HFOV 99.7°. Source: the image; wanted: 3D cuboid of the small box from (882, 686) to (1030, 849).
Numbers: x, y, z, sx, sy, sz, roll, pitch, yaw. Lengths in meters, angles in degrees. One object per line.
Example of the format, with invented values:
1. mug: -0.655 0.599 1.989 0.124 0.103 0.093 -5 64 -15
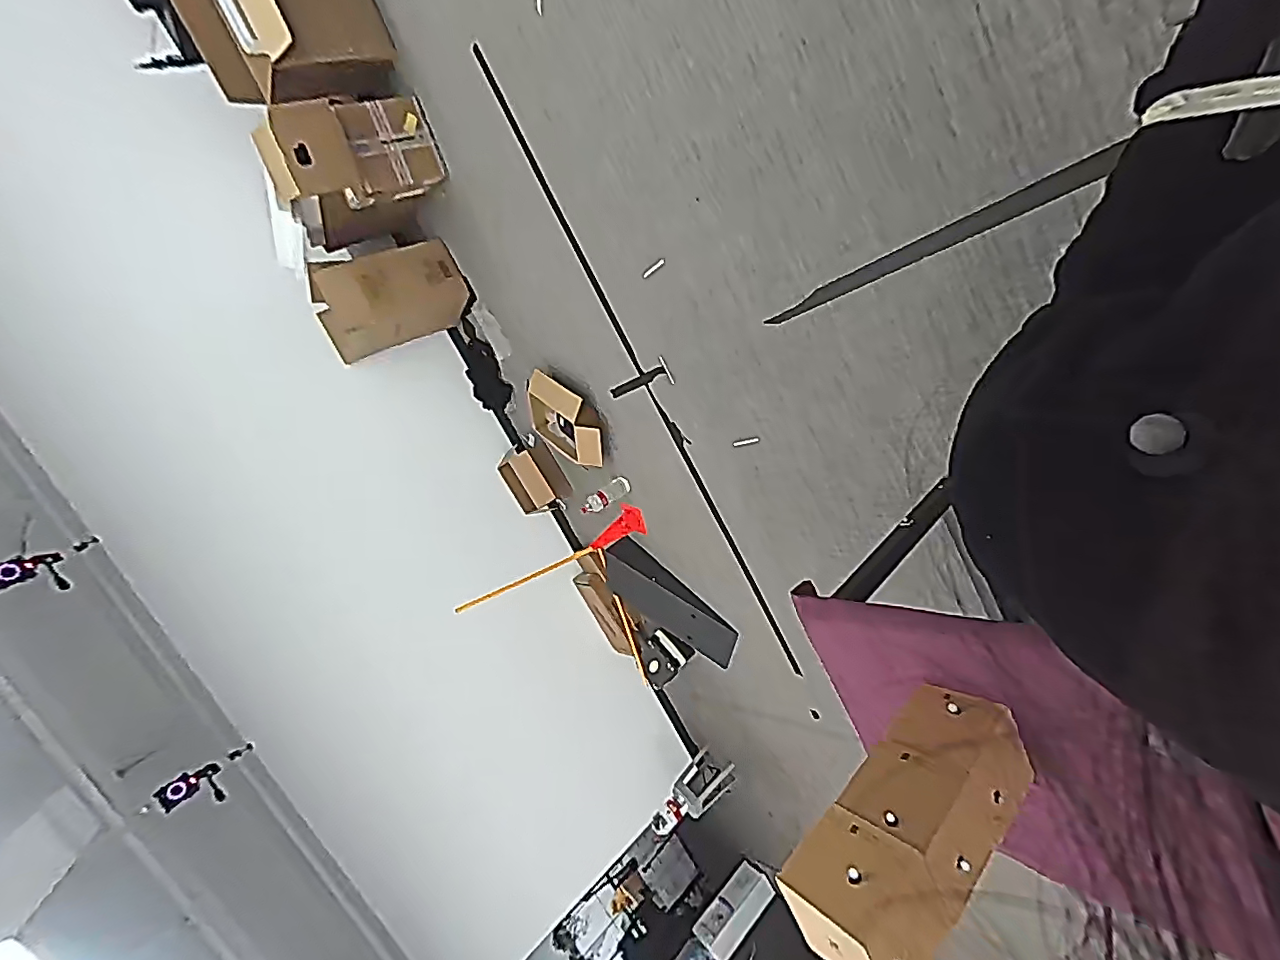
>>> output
1. small box: 0.601 0.531 1.024 0.168 0.176 0.179 -6 114 58

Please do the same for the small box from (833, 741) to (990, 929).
1. small box: 0.478 0.605 0.945 0.168 0.176 0.179 -2 118 57

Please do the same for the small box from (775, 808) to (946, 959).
1. small box: 0.355 0.678 0.867 0.168 0.176 0.179 -2 117 57
